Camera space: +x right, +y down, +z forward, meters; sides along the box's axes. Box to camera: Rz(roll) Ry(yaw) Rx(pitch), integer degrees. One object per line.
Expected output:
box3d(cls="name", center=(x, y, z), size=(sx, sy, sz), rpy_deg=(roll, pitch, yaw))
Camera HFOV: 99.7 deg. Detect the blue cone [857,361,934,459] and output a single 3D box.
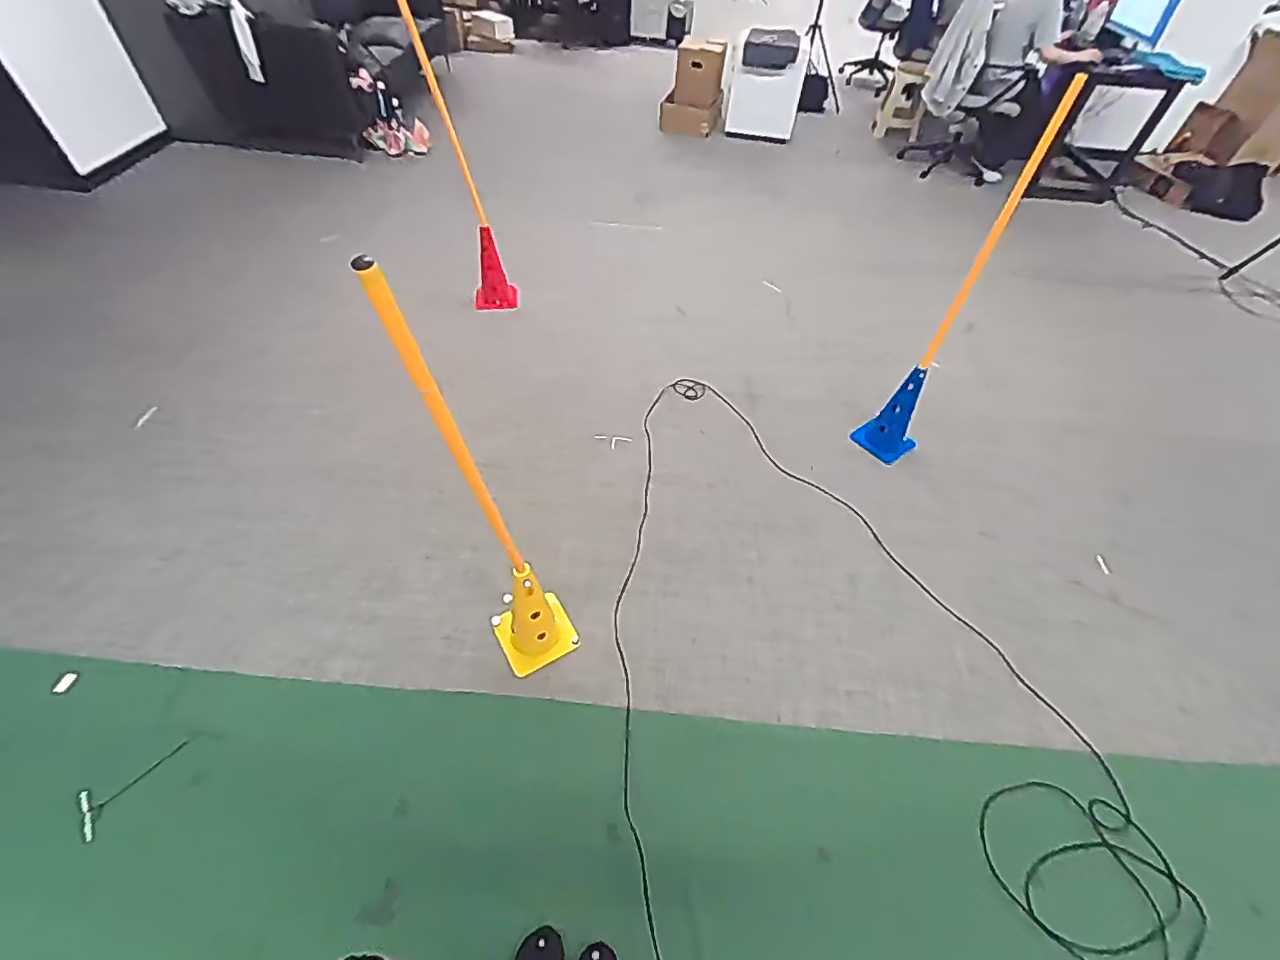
box3d(cls="blue cone", center=(0.975, -0.282, 2.003), size=(0.193, 0.380, 0.192), rpy_deg=(-31, 57, -28))
